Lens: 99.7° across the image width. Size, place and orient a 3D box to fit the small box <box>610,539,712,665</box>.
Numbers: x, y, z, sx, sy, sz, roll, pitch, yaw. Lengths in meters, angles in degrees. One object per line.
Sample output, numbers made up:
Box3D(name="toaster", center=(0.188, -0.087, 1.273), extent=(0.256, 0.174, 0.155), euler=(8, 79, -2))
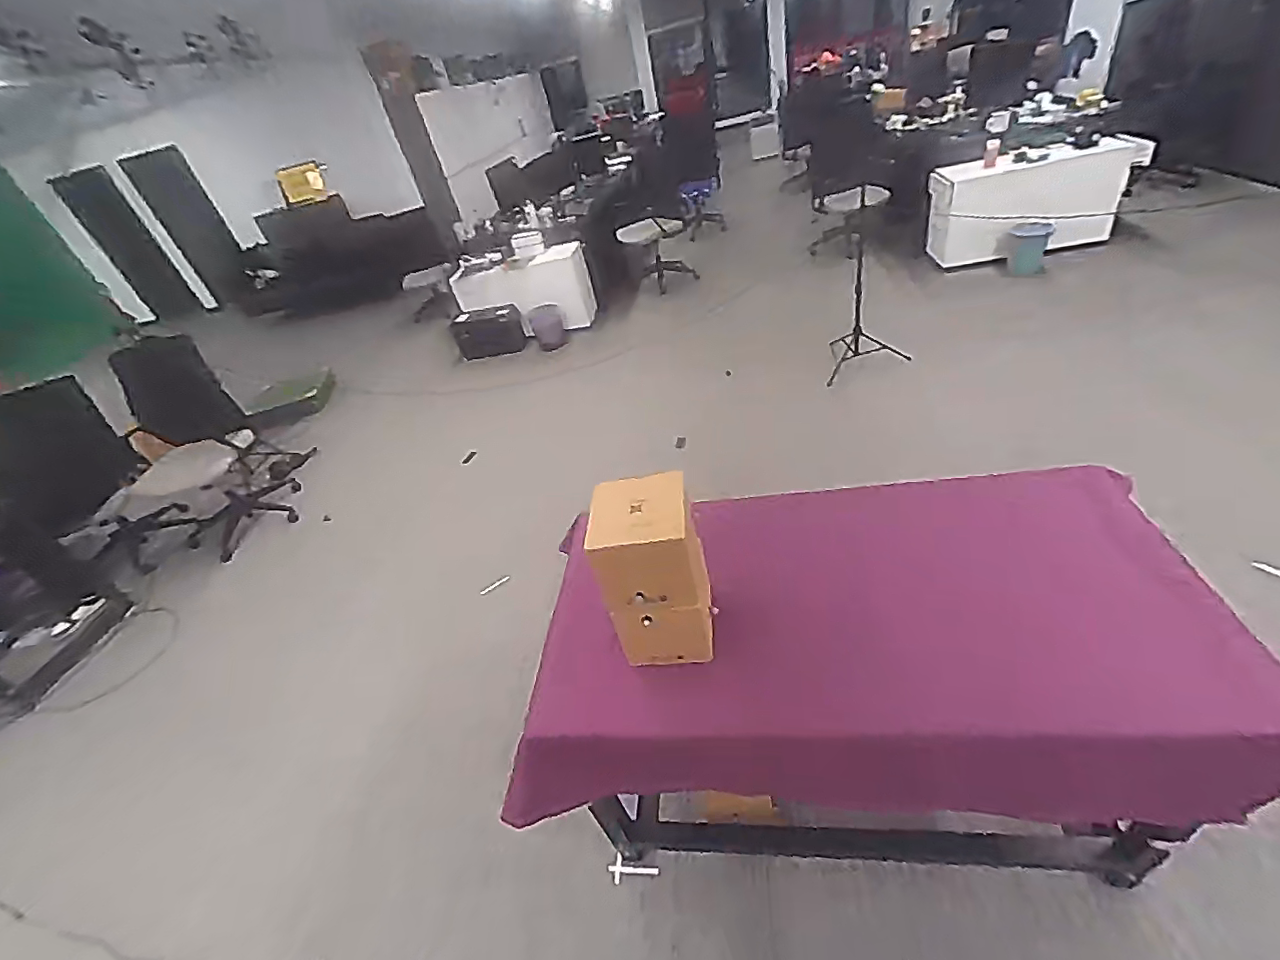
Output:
Box3D(name="small box", center=(0.048, 0.239, 1.059), extent=(0.168, 0.176, 0.179), euler=(-6, 37, 11))

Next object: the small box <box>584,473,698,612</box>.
Box3D(name="small box", center=(0.011, 0.111, 0.963), extent=(0.168, 0.176, 0.179), euler=(-7, 38, 10))
